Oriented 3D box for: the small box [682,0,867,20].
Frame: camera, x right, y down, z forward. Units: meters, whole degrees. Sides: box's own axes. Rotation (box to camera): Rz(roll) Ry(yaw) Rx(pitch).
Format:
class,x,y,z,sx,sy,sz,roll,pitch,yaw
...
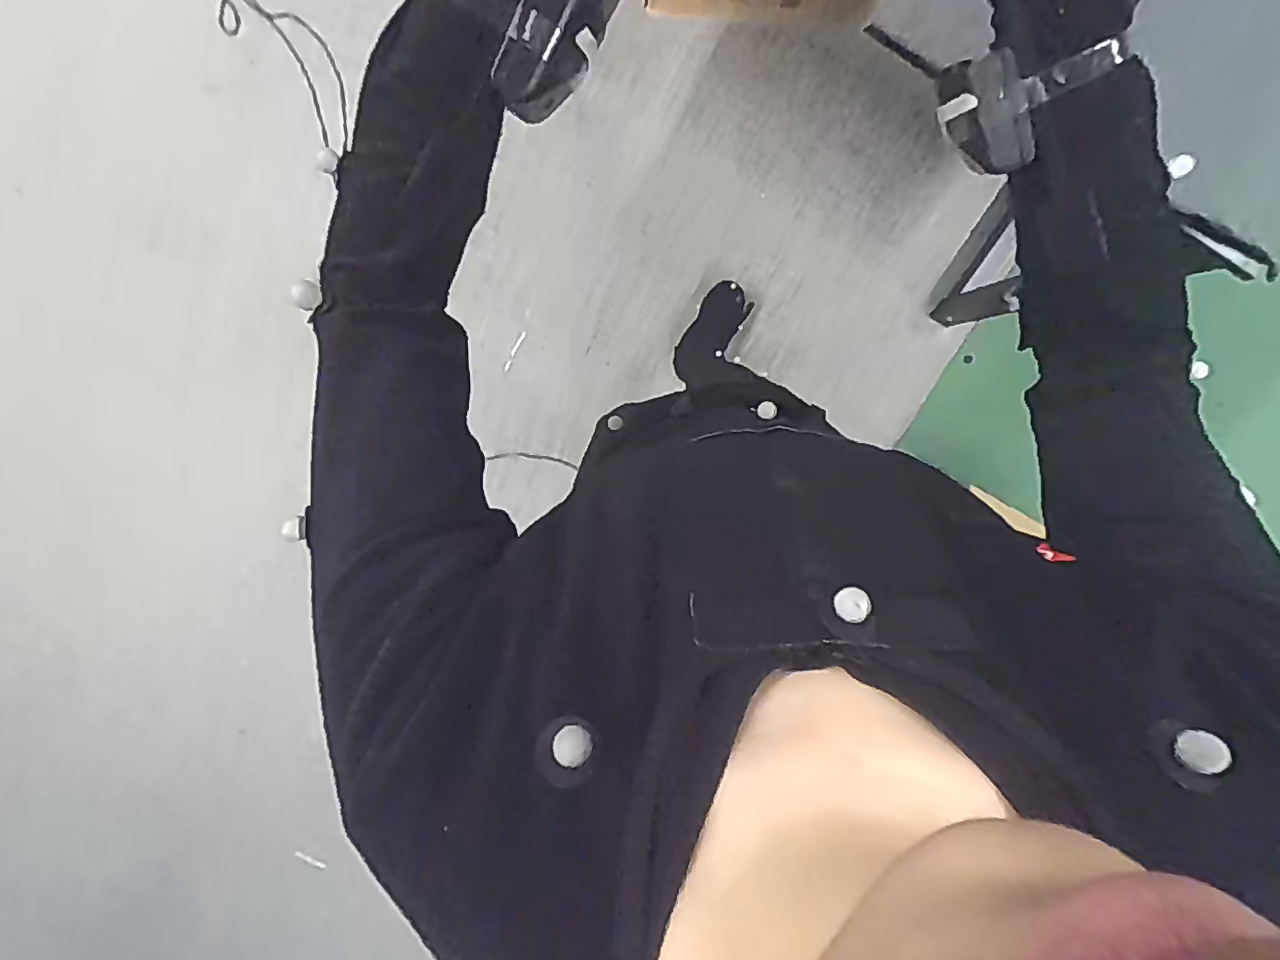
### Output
class,x,y,z,sx,sy,sz,roll,pitch,yaw
small box,0.094,-0.429,0.314,0.168,0.176,0.179,4,96,-1
